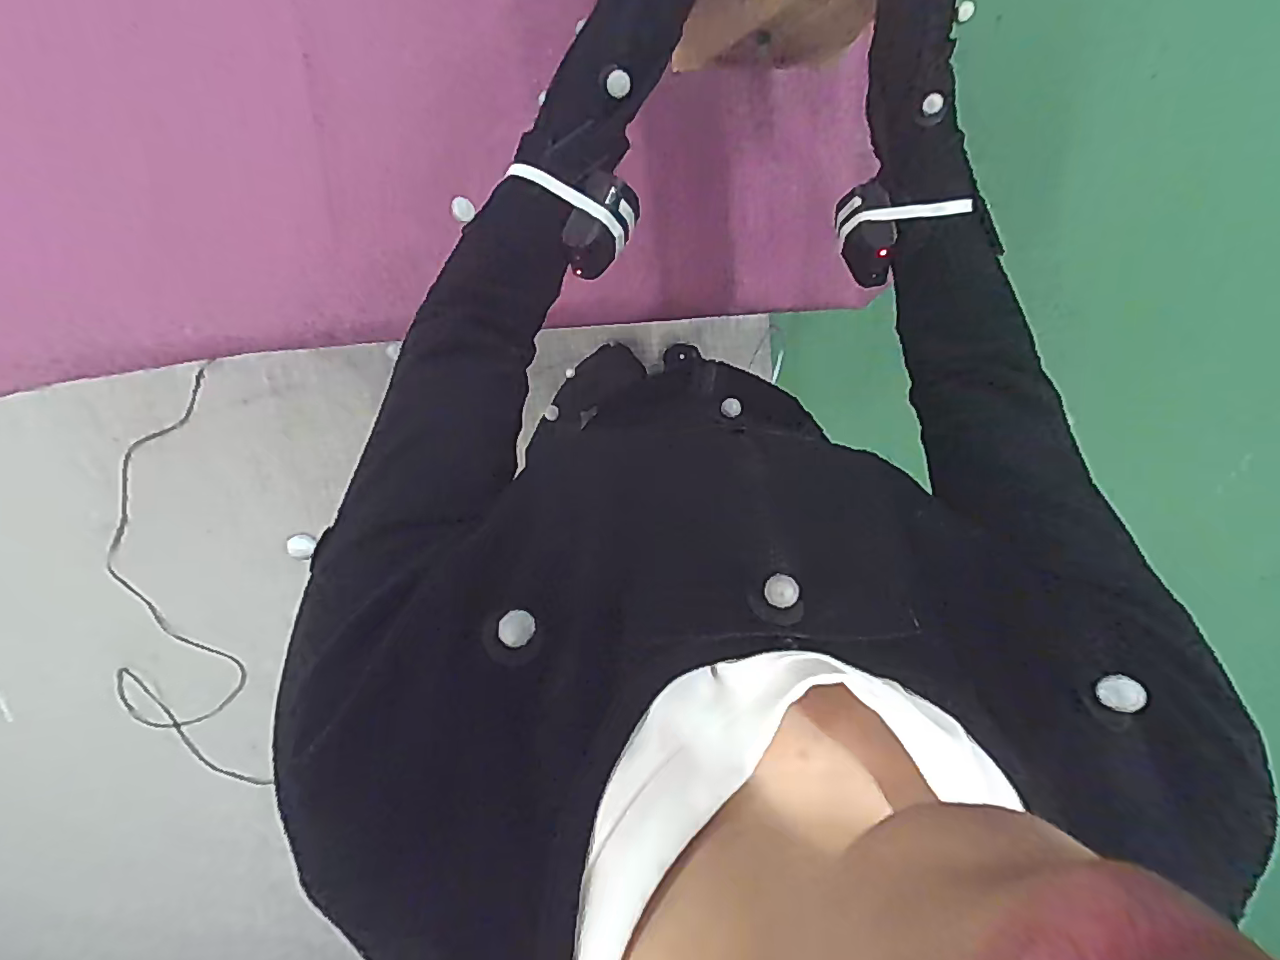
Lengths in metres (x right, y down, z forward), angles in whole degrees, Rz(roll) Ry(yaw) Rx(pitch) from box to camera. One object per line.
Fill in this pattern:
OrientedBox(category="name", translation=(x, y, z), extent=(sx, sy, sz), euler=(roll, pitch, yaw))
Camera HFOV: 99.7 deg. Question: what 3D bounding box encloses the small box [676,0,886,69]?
OrientedBox(category="small box", translation=(0.116, -0.470, 0.432), extent=(0.168, 0.176, 0.179), euler=(1, 106, 1))
